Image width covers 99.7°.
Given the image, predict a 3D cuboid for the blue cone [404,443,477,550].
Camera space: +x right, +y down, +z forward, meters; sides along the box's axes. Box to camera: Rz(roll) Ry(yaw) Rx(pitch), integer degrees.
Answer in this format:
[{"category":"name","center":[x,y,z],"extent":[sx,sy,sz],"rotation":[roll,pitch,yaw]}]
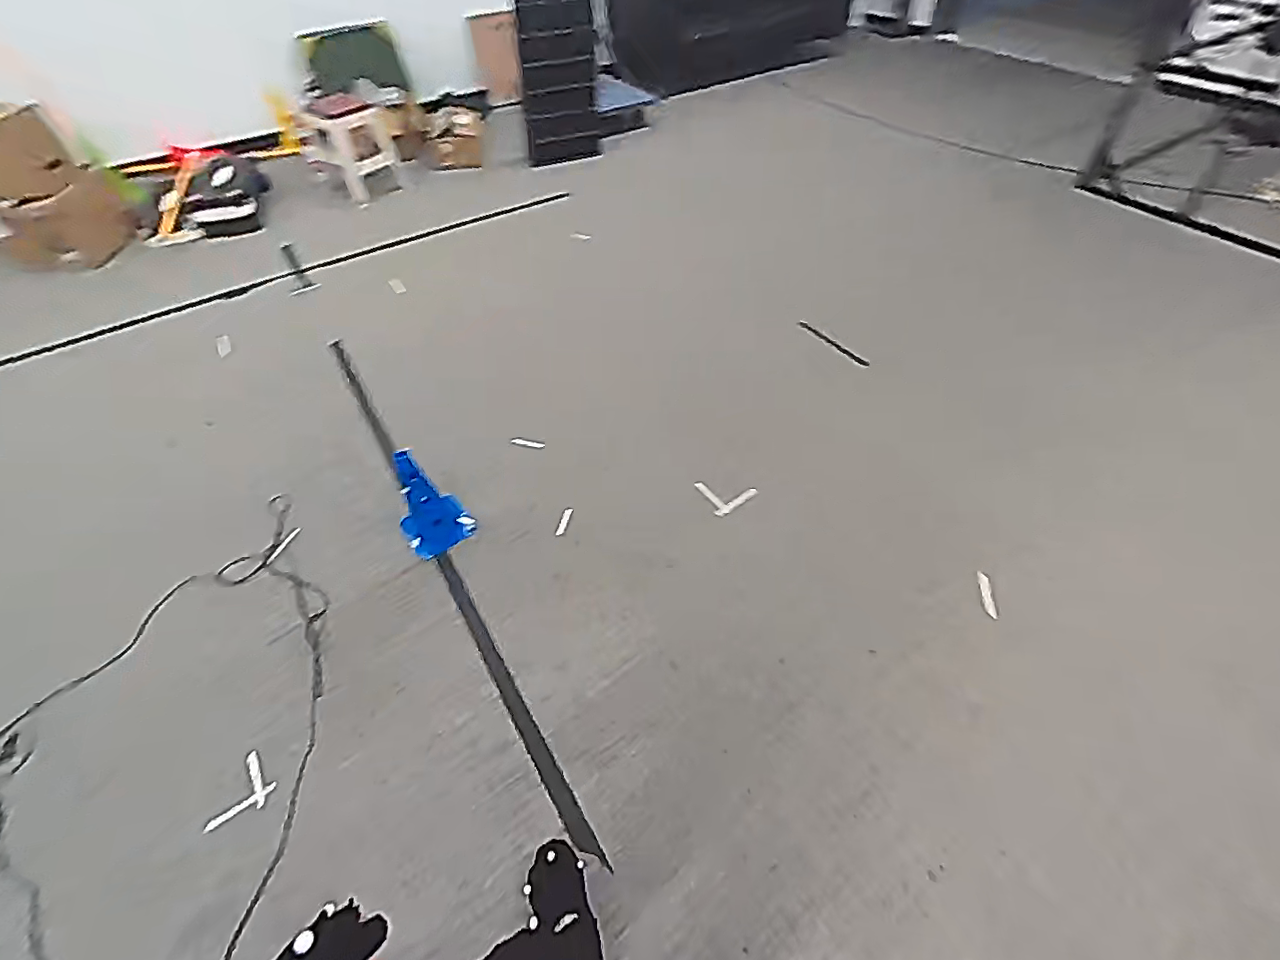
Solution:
[{"category":"blue cone","center":[-0.658,0.031,1.664],"extent":[0.192,0.380,0.193],"rotation":[-30,57,-23]}]
